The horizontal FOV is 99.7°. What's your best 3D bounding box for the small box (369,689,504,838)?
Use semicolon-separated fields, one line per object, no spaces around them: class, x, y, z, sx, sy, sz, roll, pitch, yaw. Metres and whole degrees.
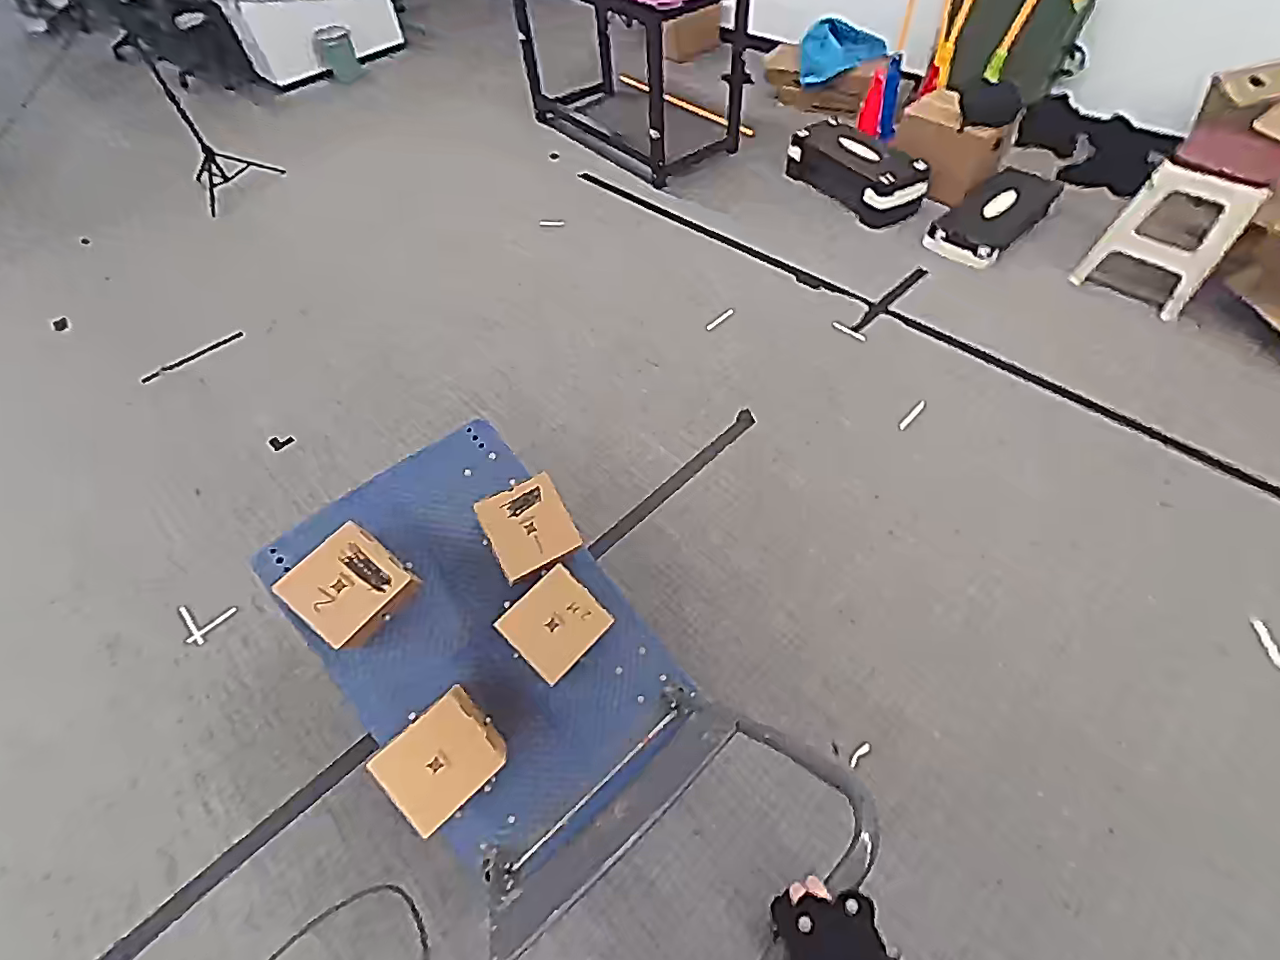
small box;-0.376;0.526;1.035;0.179;0.176;0.168;-40;86;-22

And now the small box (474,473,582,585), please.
small box;-0.246;0.113;1.179;0.168;0.176;0.179;-27;83;-18

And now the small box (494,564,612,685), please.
small box;-0.184;0.303;1.141;0.168;0.176;0.179;46;70;2
